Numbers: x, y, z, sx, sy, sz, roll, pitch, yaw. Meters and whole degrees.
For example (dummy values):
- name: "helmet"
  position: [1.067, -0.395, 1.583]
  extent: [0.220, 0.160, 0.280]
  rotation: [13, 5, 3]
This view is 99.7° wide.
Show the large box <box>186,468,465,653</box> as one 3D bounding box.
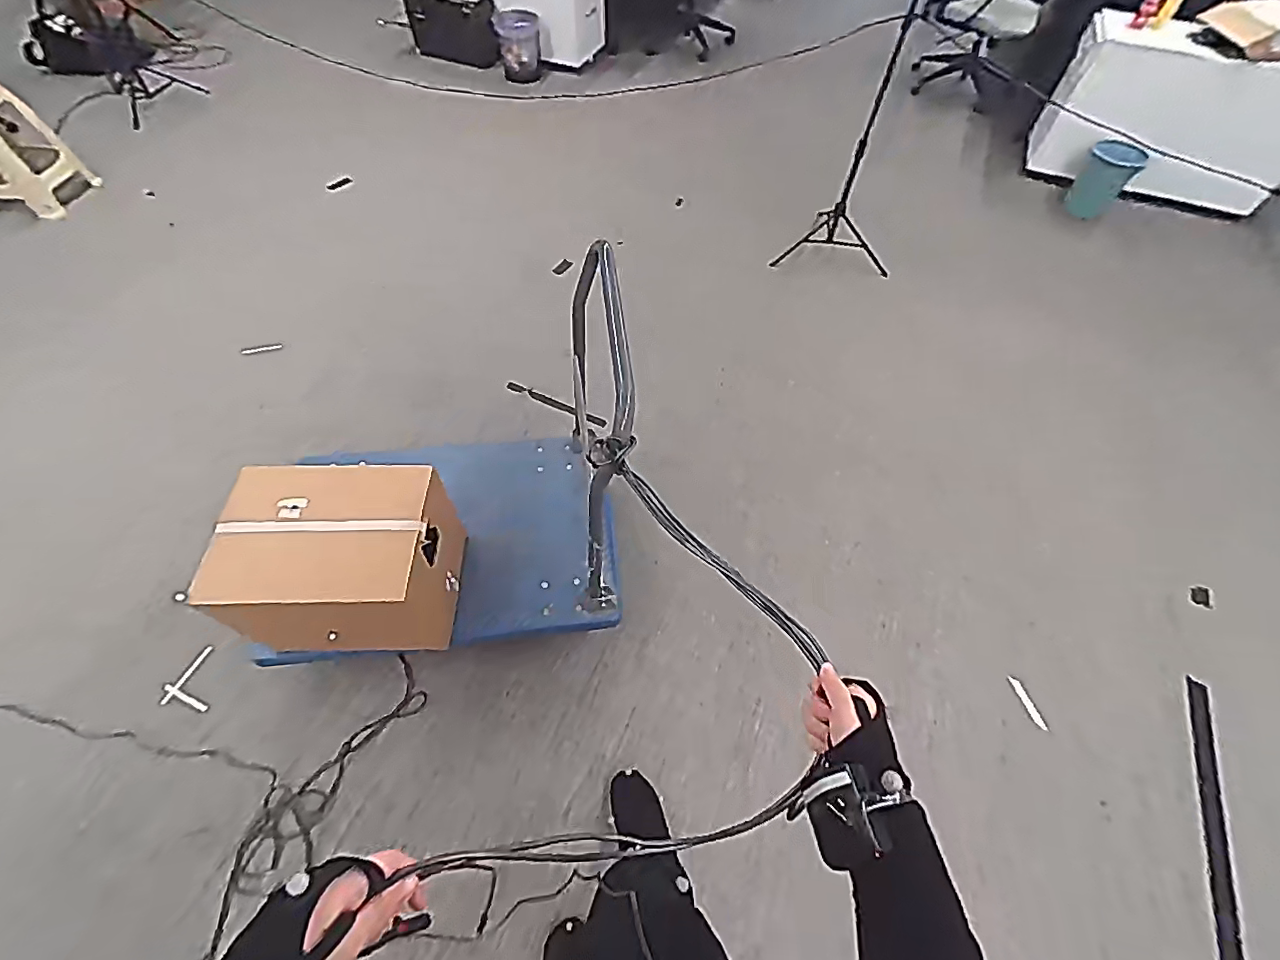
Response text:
- name: "large box"
  position: [-0.642, 0.187, 1.201]
  extent: [0.408, 0.320, 0.320]
  rotation: [0, 56, -2]
